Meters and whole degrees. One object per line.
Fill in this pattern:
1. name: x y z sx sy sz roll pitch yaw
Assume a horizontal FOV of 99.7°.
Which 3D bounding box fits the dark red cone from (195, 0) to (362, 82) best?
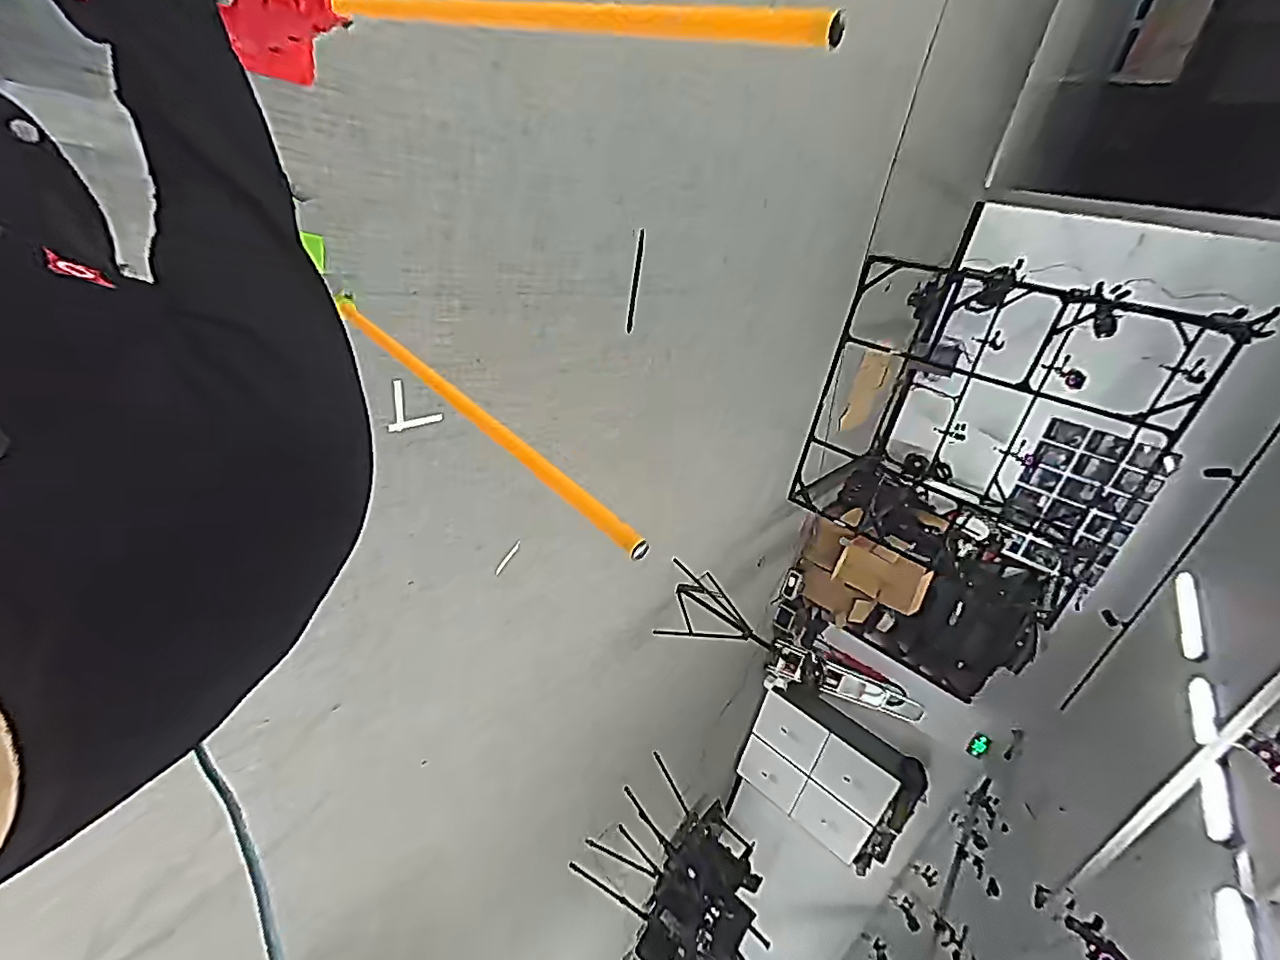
1. dark red cone: -0.598 -0.826 0.935 0.201 0.394 0.202 -23 132 -47
